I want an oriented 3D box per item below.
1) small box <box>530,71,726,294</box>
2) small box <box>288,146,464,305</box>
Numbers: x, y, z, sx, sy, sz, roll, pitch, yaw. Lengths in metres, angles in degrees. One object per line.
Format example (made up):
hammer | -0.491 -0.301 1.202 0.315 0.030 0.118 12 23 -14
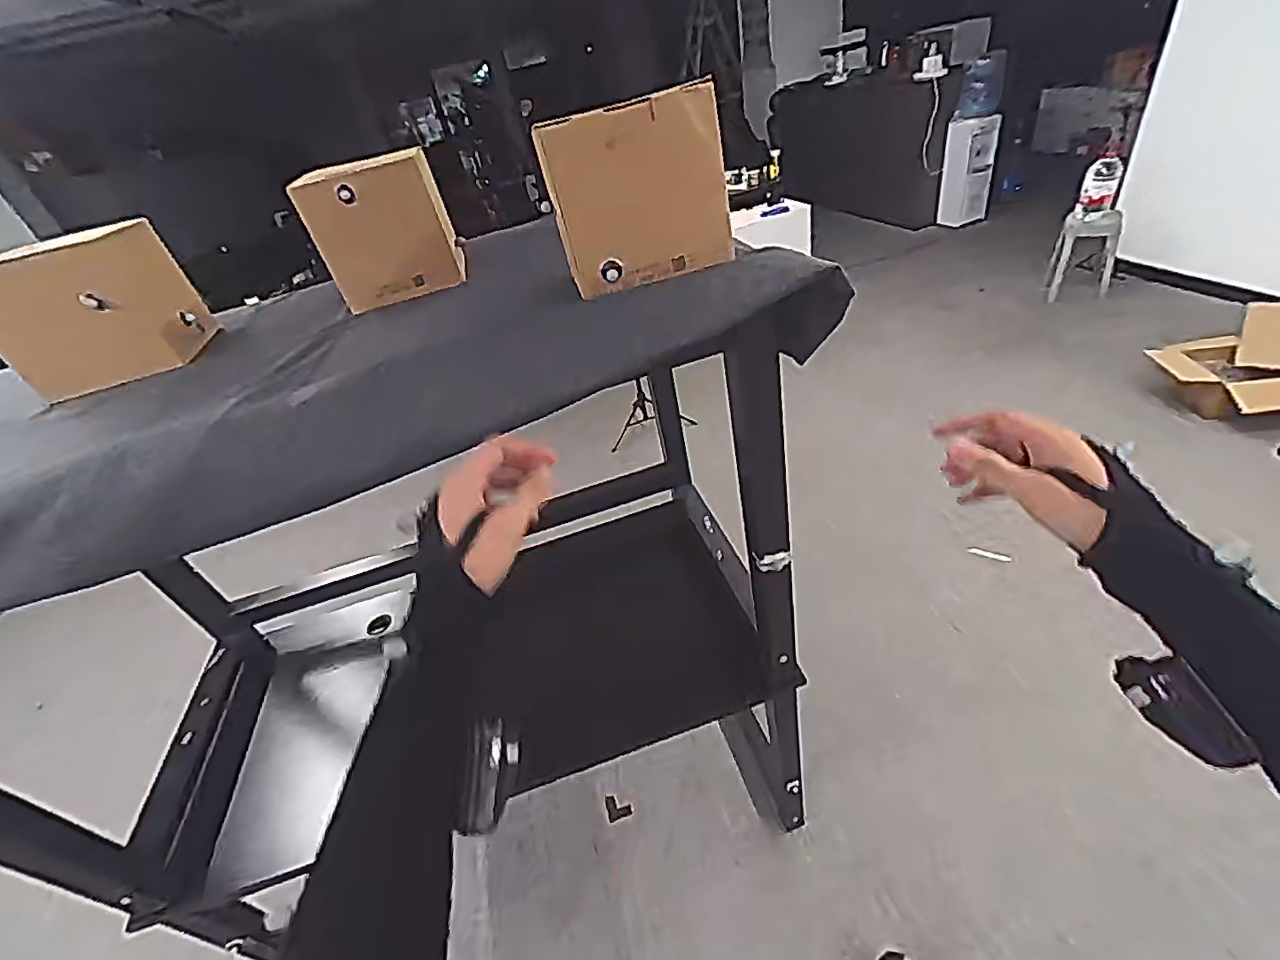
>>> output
small box | -0.015 -0.320 0.597 0.168 0.176 0.179 -17 33 -3
small box | -0.370 -0.375 0.796 0.168 0.176 0.179 -19 36 -6
